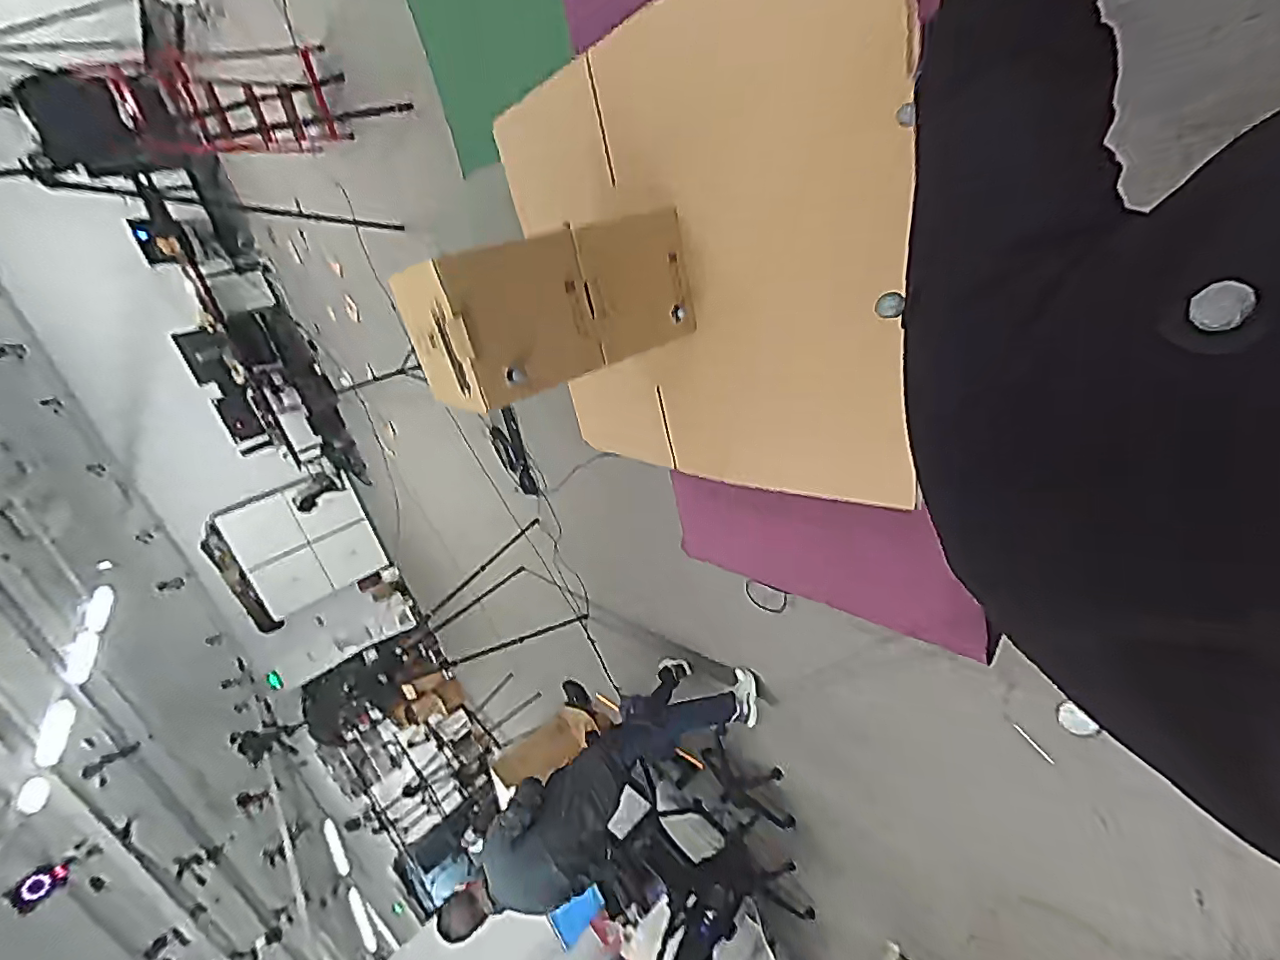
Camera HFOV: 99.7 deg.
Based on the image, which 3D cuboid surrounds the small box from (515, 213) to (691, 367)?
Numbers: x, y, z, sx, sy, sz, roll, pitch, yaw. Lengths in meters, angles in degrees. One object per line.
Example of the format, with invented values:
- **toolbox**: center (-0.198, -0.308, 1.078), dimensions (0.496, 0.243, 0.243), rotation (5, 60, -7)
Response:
- **small box**: center (-0.044, -0.265, 0.764), dimensions (0.179, 0.176, 0.168), rotation (16, 127, 50)
